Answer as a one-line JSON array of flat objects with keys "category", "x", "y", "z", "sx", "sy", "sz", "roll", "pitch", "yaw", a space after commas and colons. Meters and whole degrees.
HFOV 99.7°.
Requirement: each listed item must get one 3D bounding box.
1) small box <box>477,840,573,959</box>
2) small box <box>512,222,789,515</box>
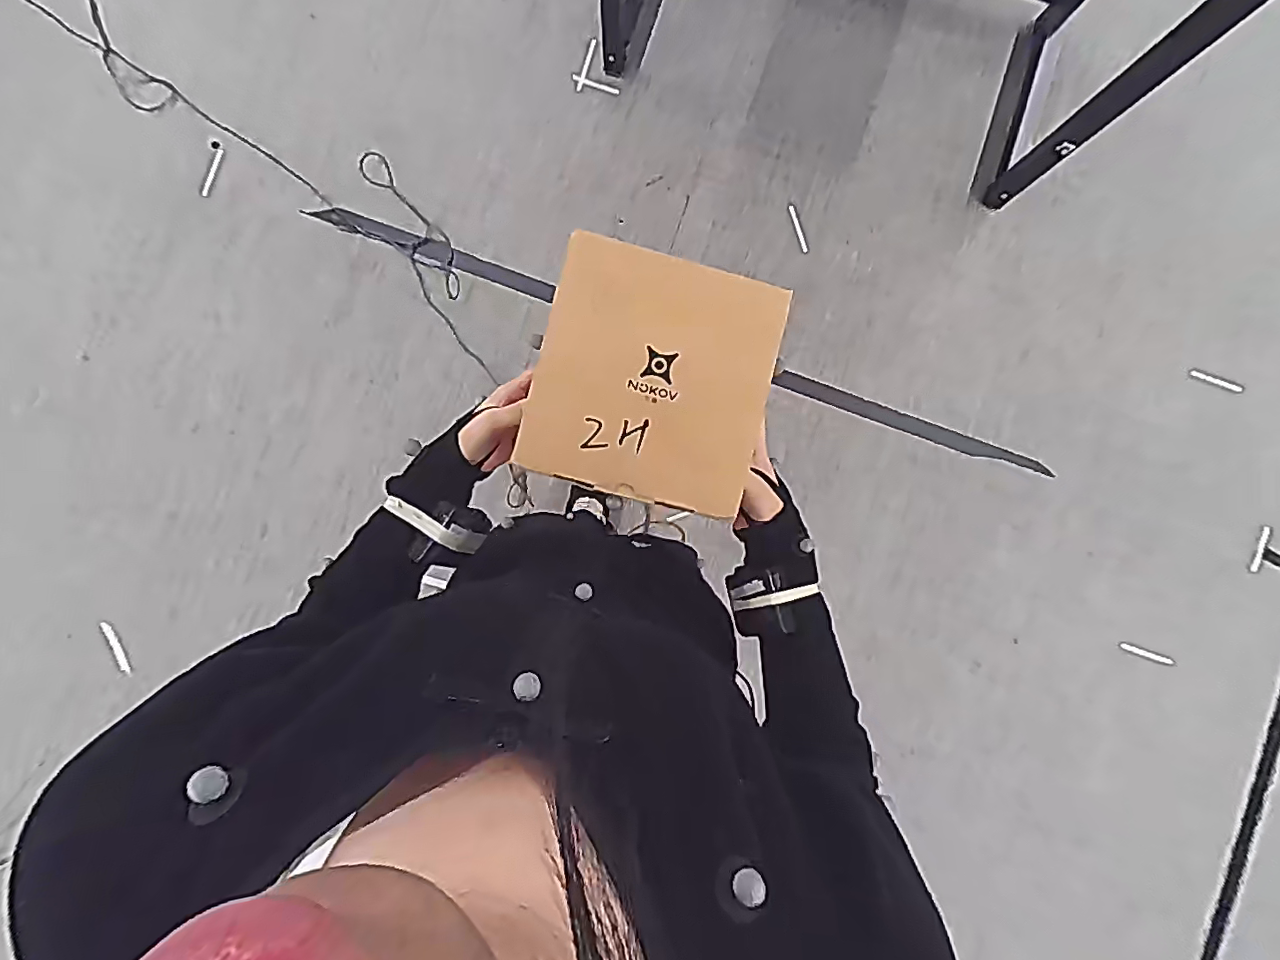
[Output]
[{"category": "small box", "x": -0.282, "y": 1.070, "z": 1.379, "sx": 0.179, "sy": 0.176, "sz": 0.168, "roll": 27, "pitch": 88, "yaw": -2}, {"category": "small box", "x": 0.003, "y": -0.078, "z": 0.462, "sx": 0.168, "sy": 0.176, "sz": 0.179, "roll": 15, "pitch": 89, "yaw": -4}]
